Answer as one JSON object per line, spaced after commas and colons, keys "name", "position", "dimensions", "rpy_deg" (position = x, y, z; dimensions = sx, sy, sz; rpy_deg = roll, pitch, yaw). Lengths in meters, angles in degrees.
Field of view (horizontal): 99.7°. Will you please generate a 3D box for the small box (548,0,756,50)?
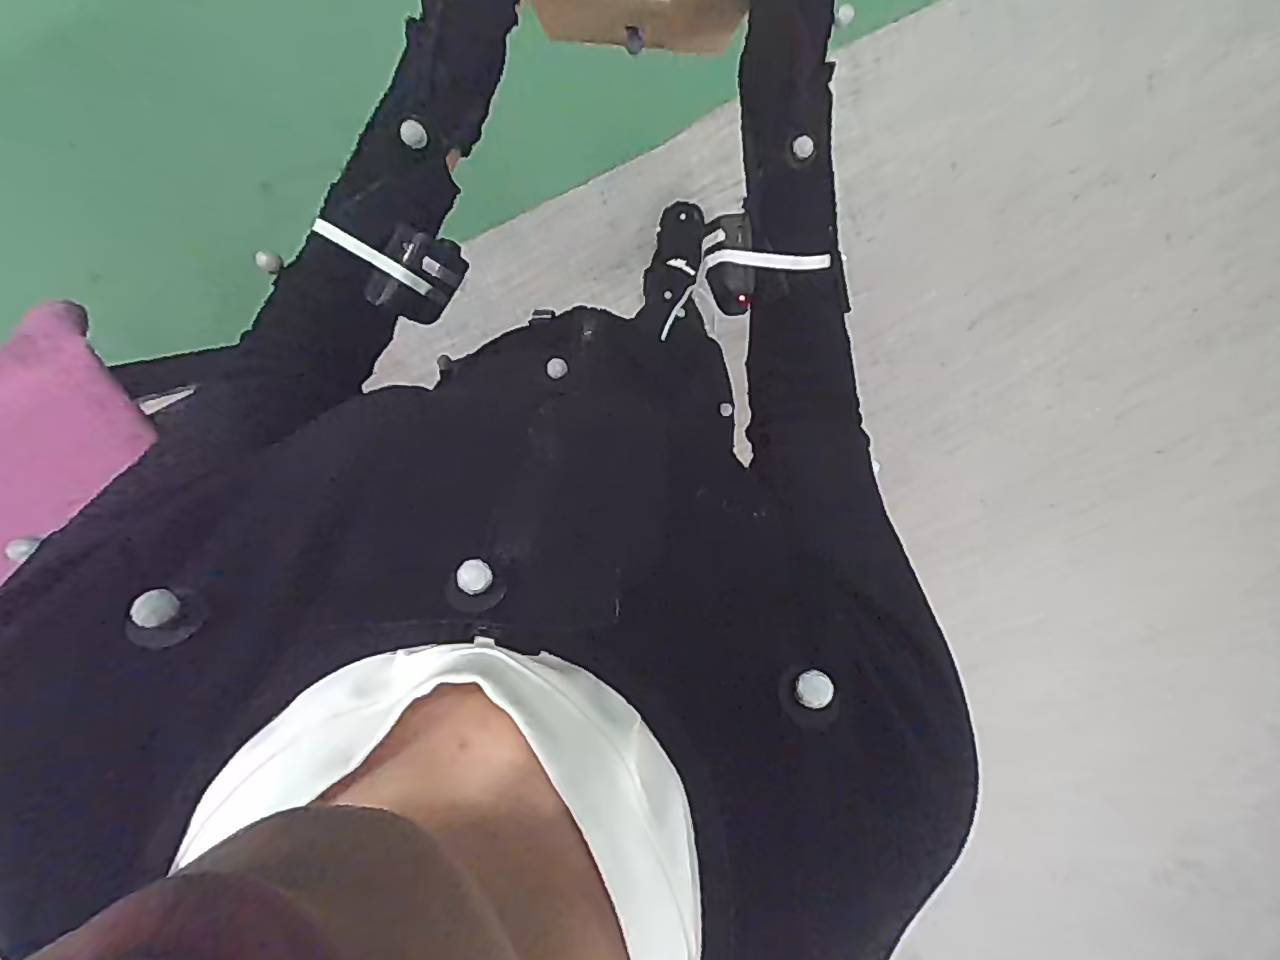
{"name": "small box", "position": [0.008, -0.447, 0.390], "dimensions": [0.168, 0.176, 0.179], "rpy_deg": [3, 117, -2]}
